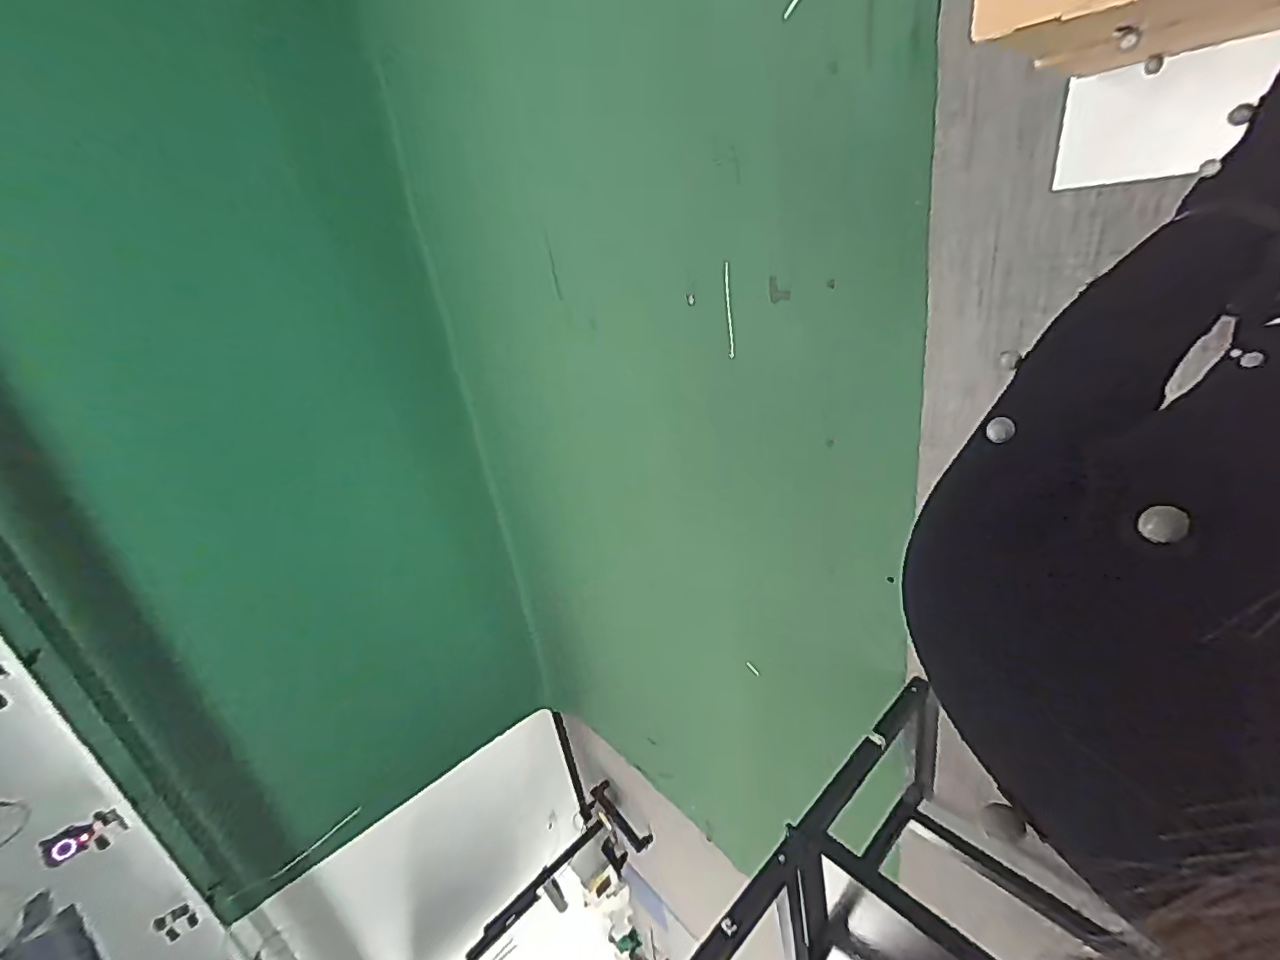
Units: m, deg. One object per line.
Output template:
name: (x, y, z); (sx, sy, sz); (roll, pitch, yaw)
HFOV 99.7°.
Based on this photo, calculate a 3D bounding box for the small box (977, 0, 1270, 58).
small box: (0.376, -0.439, 0.390); (0.168, 0.176, 0.179); (20, 127, 45)

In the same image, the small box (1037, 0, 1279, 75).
small box: (0.494, -0.496, 0.488); (0.168, 0.176, 0.179); (19, 127, 45)
